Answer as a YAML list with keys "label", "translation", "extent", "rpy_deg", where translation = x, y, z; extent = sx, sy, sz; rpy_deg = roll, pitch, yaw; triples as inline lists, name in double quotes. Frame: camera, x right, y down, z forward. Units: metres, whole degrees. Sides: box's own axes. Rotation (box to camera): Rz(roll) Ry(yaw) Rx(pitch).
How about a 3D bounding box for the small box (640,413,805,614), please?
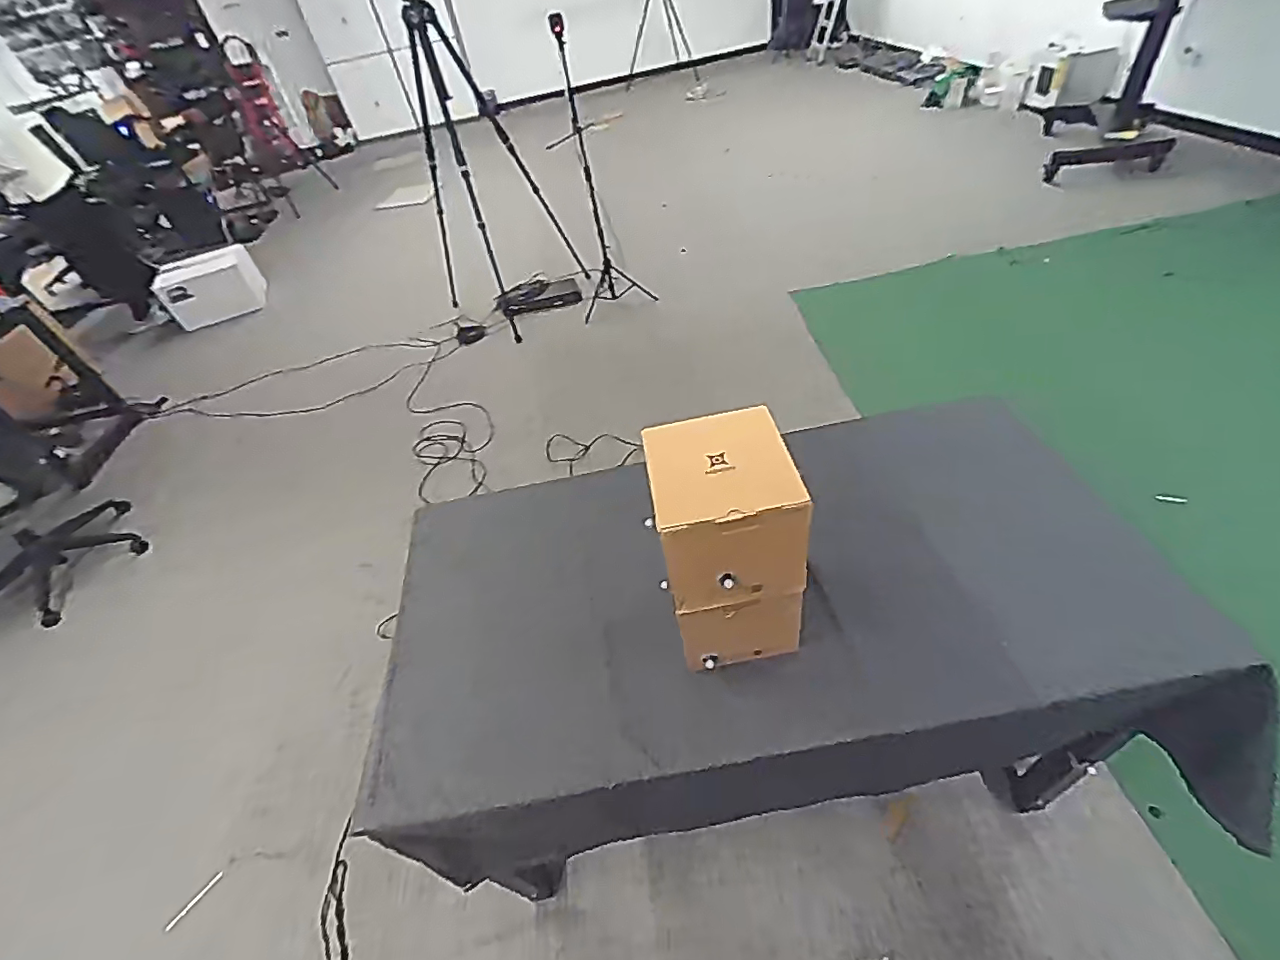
- label: "small box"
  translation: [0.100, 0.043, 0.694]
  extent: [0.168, 0.176, 0.179]
  rpy_deg: [-12, 44, 1]

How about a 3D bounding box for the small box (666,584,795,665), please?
- label: "small box"
  translation: [0.126, 0.157, 0.808]
  extent: [0.168, 0.176, 0.179]
  rpy_deg: [-12, 43, 1]
